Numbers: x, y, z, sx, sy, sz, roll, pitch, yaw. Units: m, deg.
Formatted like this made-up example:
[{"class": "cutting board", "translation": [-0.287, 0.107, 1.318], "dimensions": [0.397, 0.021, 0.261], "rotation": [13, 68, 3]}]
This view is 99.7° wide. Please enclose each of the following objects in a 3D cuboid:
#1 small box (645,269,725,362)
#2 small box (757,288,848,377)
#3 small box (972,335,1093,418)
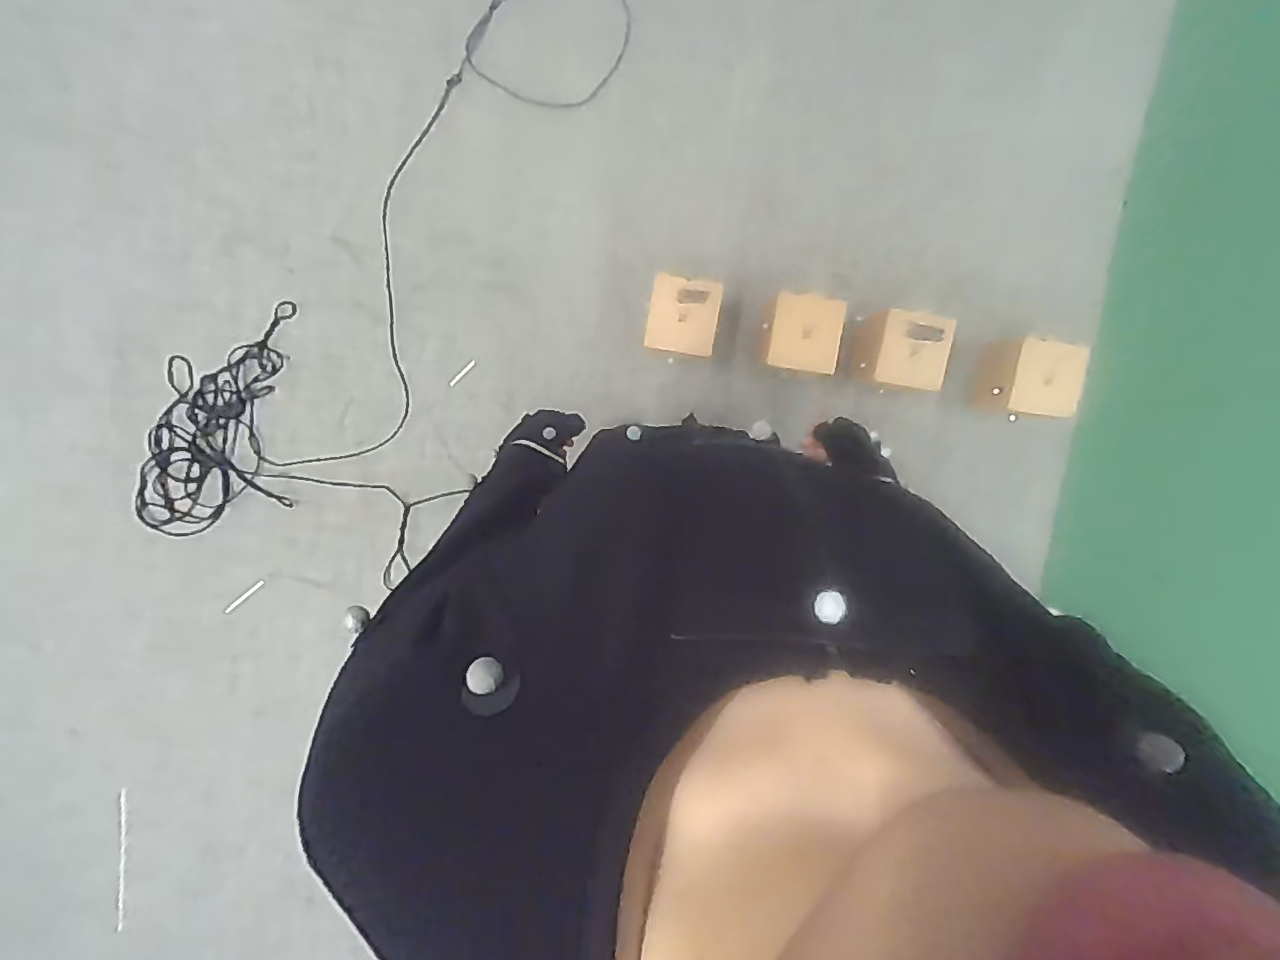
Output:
[{"class": "small box", "translation": [0.105, -0.402, 1.346], "dimensions": [0.168, 0.176, 0.179], "rotation": [10, 97, -1]}, {"class": "small box", "translation": [0.396, -0.360, 1.352], "dimensions": [0.168, 0.176, 0.179], "rotation": [8, 95, 0]}, {"class": "small box", "translation": [0.977, -0.255, 1.364], "dimensions": [0.168, 0.176, 0.179], "rotation": [8, 96, -2]}]
